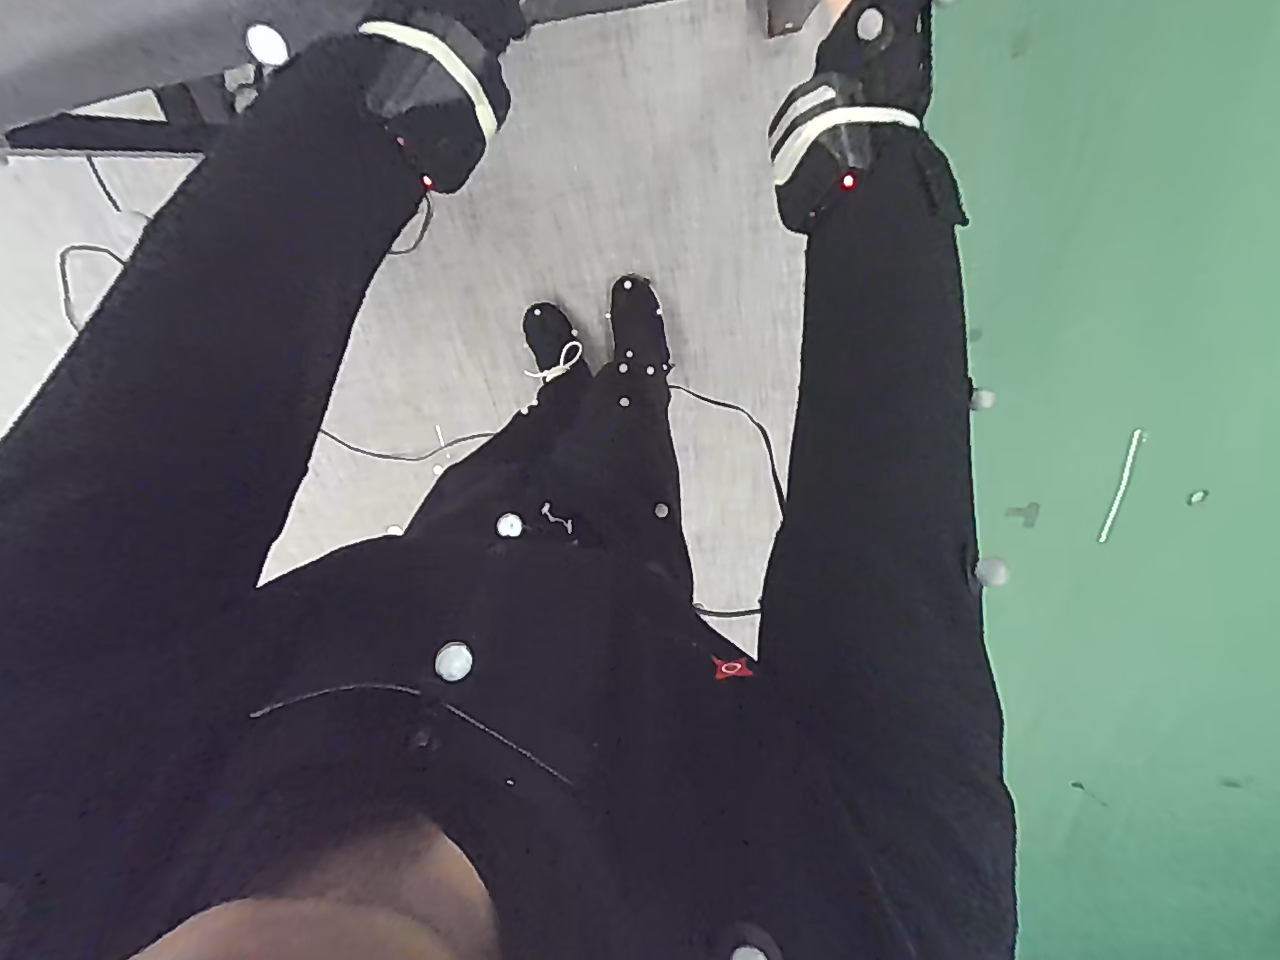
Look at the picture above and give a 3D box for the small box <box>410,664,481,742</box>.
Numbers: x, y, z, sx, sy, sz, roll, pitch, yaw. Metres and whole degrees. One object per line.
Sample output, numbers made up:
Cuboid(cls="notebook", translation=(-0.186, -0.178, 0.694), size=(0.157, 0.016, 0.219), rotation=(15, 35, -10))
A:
Cuboid(cls="small box", translation=(-0.649, 0.745, 1.818), size=(0.179, 0.176, 0.168), rotation=(9, 121, 0))
